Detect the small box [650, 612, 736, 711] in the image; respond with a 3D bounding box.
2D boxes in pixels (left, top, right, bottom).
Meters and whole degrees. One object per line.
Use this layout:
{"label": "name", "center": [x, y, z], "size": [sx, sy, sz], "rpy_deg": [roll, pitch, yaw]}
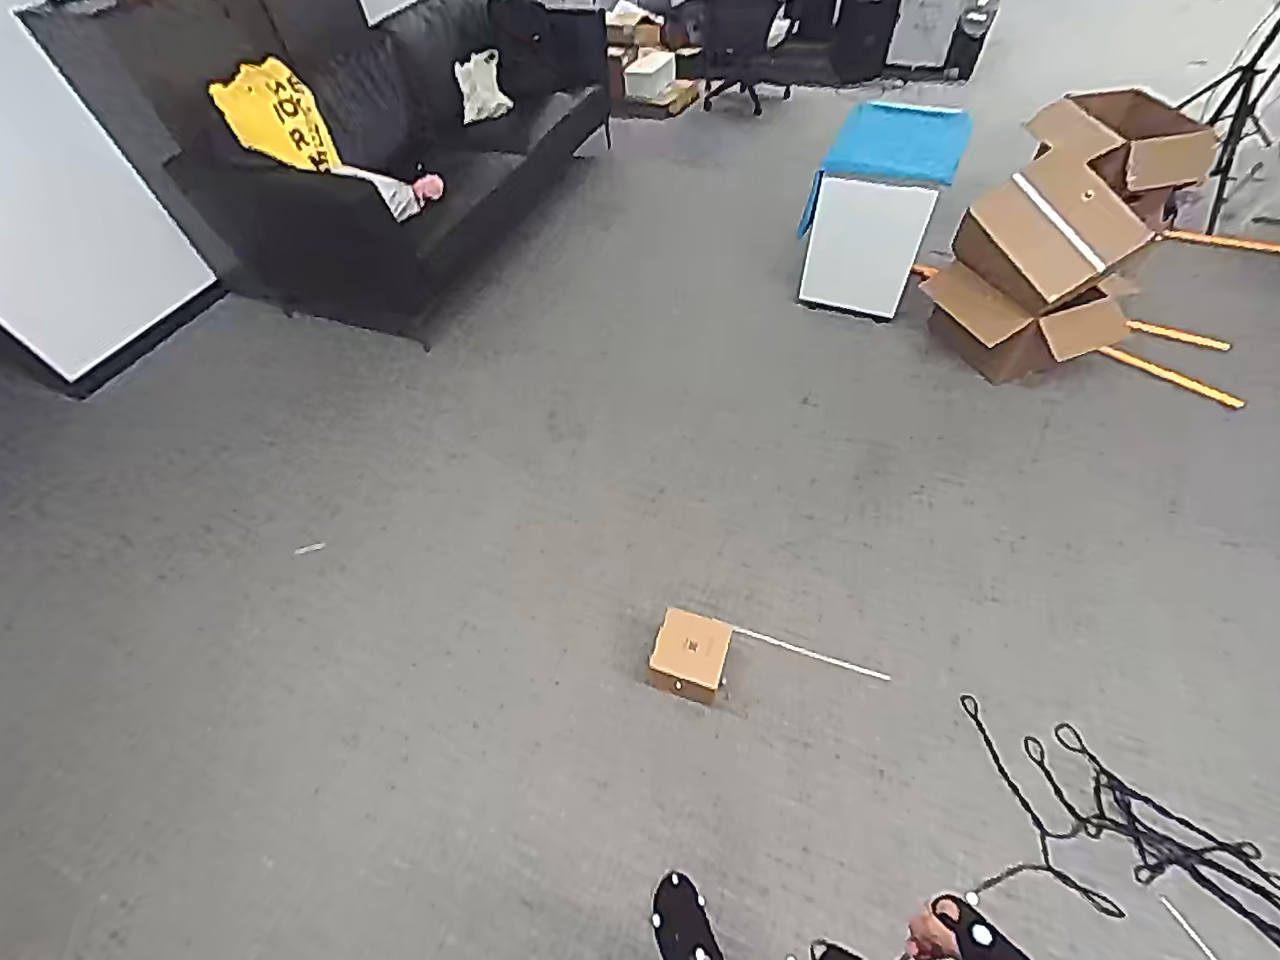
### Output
{"label": "small box", "center": [0.140, 0.473, 1.397], "size": [0.179, 0.176, 0.168], "rpy_deg": [14, 55, 16]}
